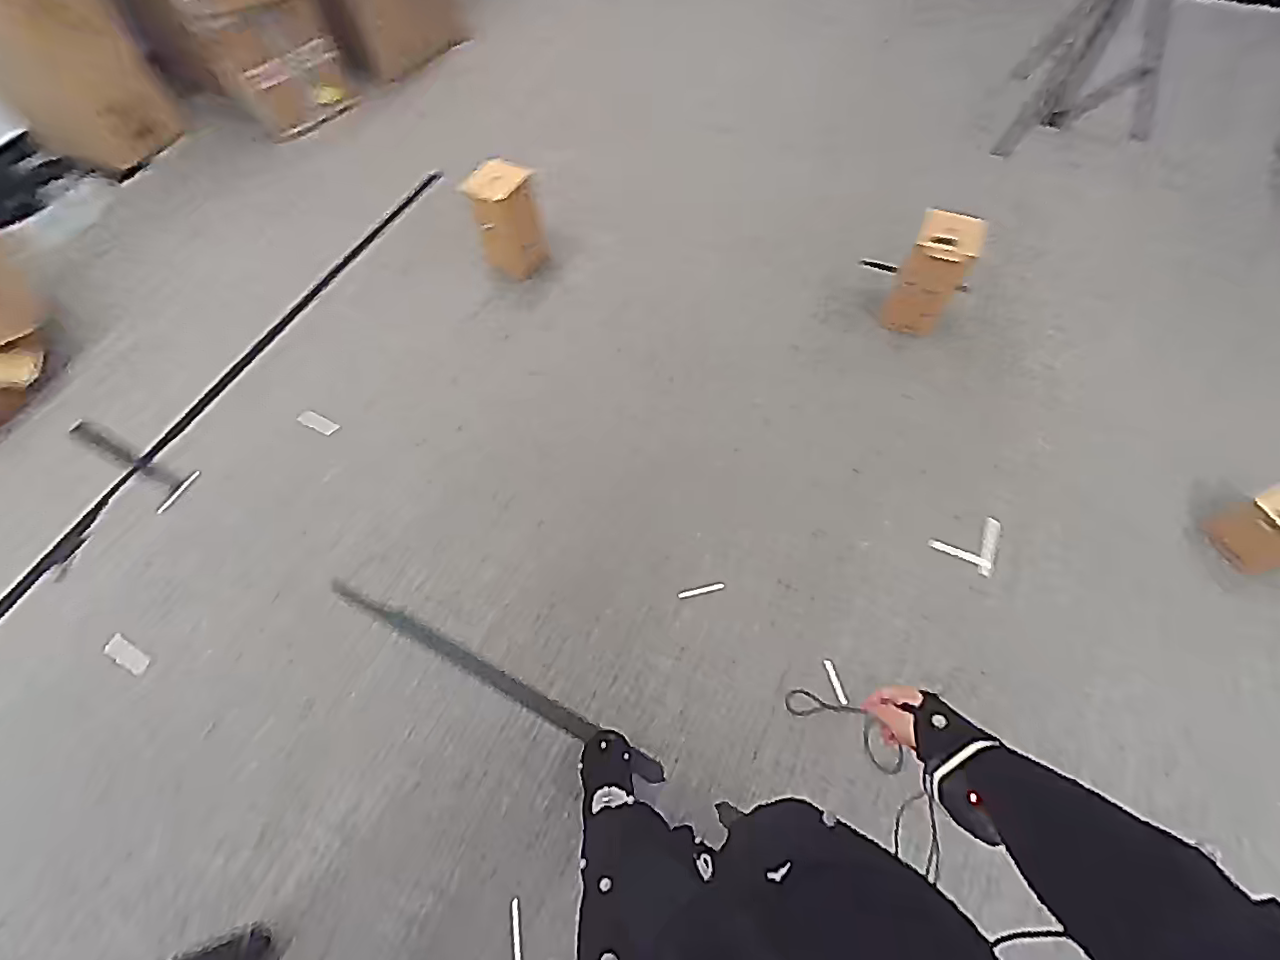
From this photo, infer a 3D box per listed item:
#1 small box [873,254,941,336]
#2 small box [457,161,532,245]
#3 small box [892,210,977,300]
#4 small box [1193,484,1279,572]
[{"bbox_3d":[0.894,-0.611,1.800,0.168,0.176,0.179,19,65,11],"label":"small box"},{"bbox_3d":[-0.489,-0.949,1.858,0.168,0.176,0.179,26,68,16],"label":"small box"},{"bbox_3d":[0.891,-0.683,1.652,0.168,0.176,0.179,20,65,12],"label":"small box"},{"bbox_3d":[1.613,0.118,1.390,0.179,0.176,0.168,-19,64,-7],"label":"small box"}]
